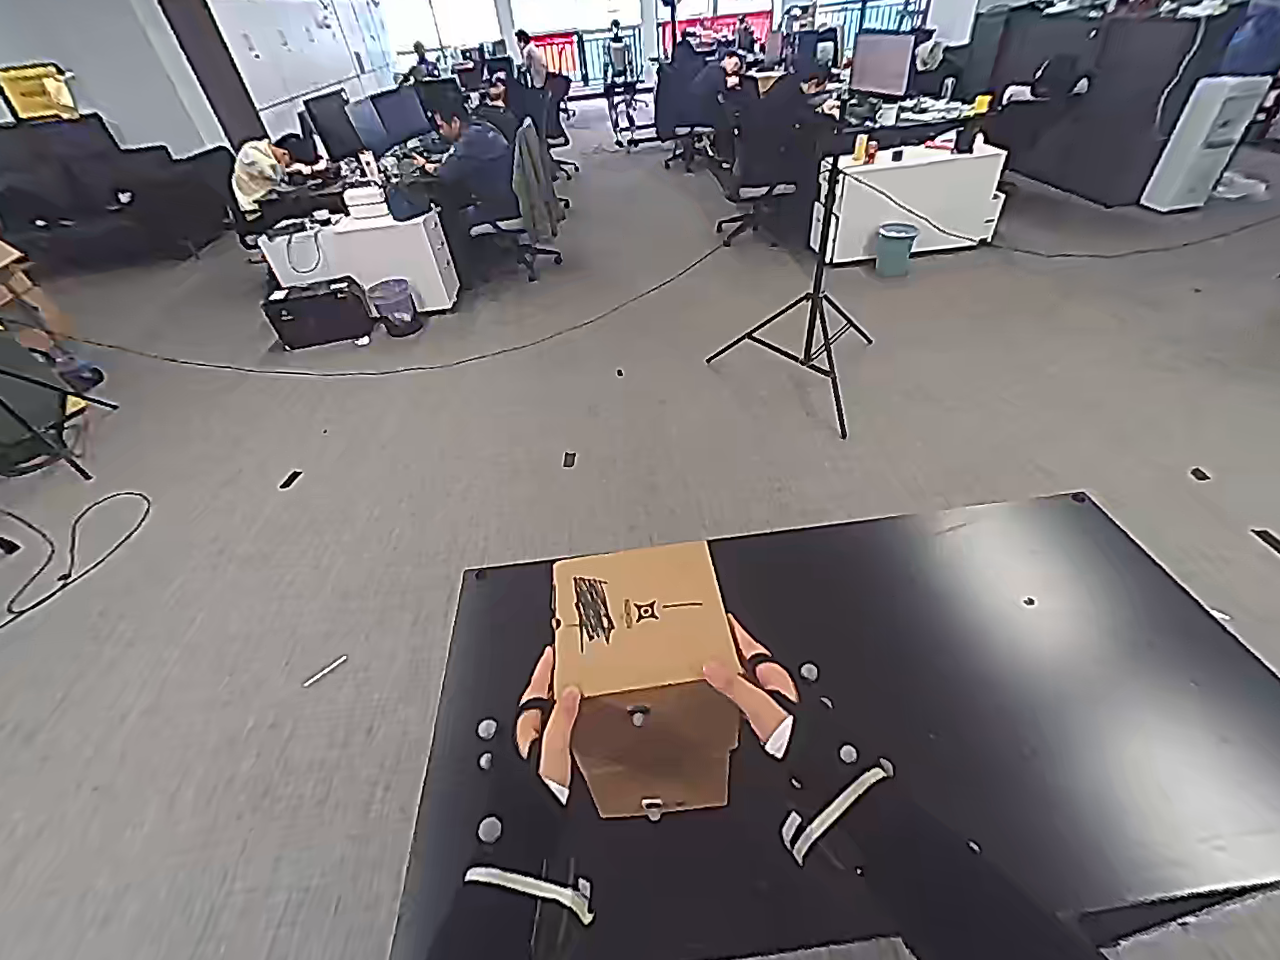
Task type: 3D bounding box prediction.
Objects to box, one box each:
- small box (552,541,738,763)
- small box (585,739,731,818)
[{"bbox_3d":[0.006,0.194,0.603,0.179,0.176,0.168,-8,42,-1],"label":"small box"},{"bbox_3d":[0.020,0.315,0.714,0.168,0.176,0.179,-8,42,0],"label":"small box"}]
